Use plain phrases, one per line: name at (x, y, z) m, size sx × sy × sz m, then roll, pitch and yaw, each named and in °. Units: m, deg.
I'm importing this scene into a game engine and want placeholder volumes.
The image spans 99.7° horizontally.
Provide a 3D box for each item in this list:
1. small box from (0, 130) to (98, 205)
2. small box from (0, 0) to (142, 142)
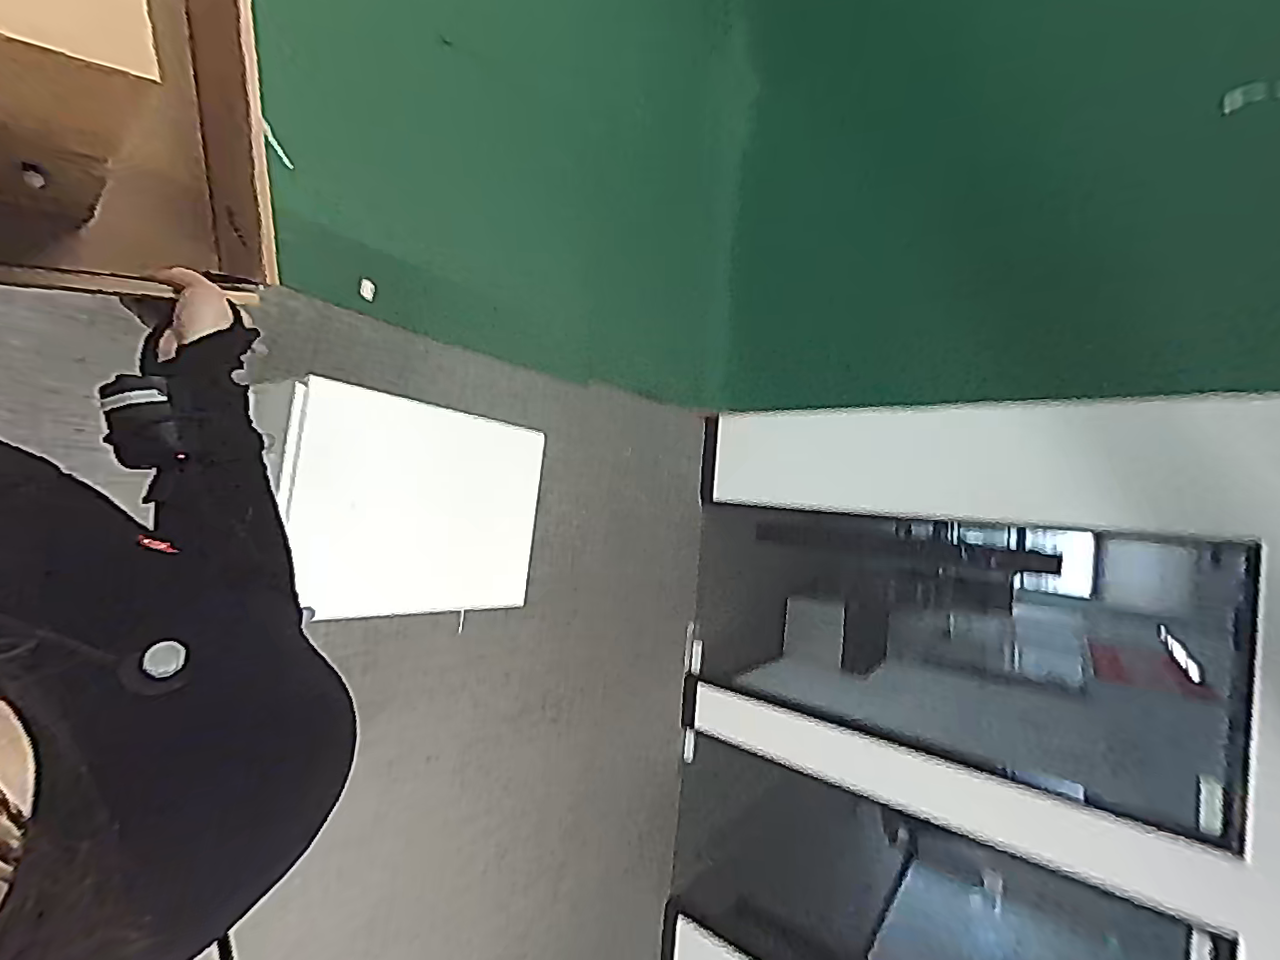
small box at (-0.503, -0.304, 0.362) m, size 0.179 × 0.176 × 0.168 m, roll -11°, pitch 105°, yaw -49°
small box at (-0.381, -0.289, 0.256) m, size 0.179 × 0.176 × 0.168 m, roll -16°, pitch 110°, yaw -49°
